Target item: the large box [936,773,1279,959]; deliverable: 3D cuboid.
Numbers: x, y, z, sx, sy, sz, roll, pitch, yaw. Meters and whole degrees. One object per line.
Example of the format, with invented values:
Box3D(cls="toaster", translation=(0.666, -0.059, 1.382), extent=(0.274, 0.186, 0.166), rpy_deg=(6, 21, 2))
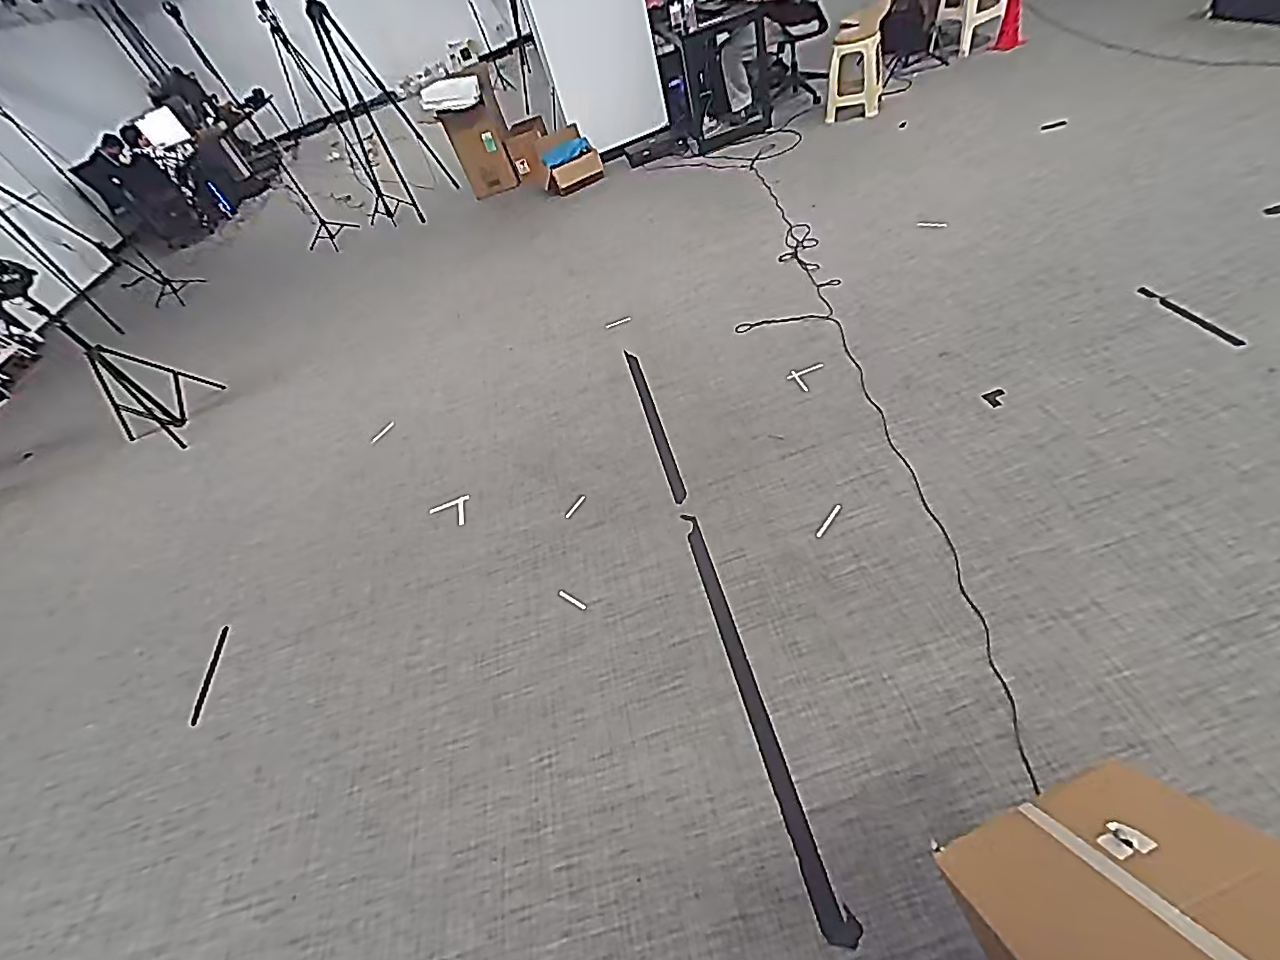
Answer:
Box3D(cls="large box", translation=(0.638, 0.616, 0.596), extent=(0.320, 0.408, 0.320), rpy_deg=(-25, 83, -1))
